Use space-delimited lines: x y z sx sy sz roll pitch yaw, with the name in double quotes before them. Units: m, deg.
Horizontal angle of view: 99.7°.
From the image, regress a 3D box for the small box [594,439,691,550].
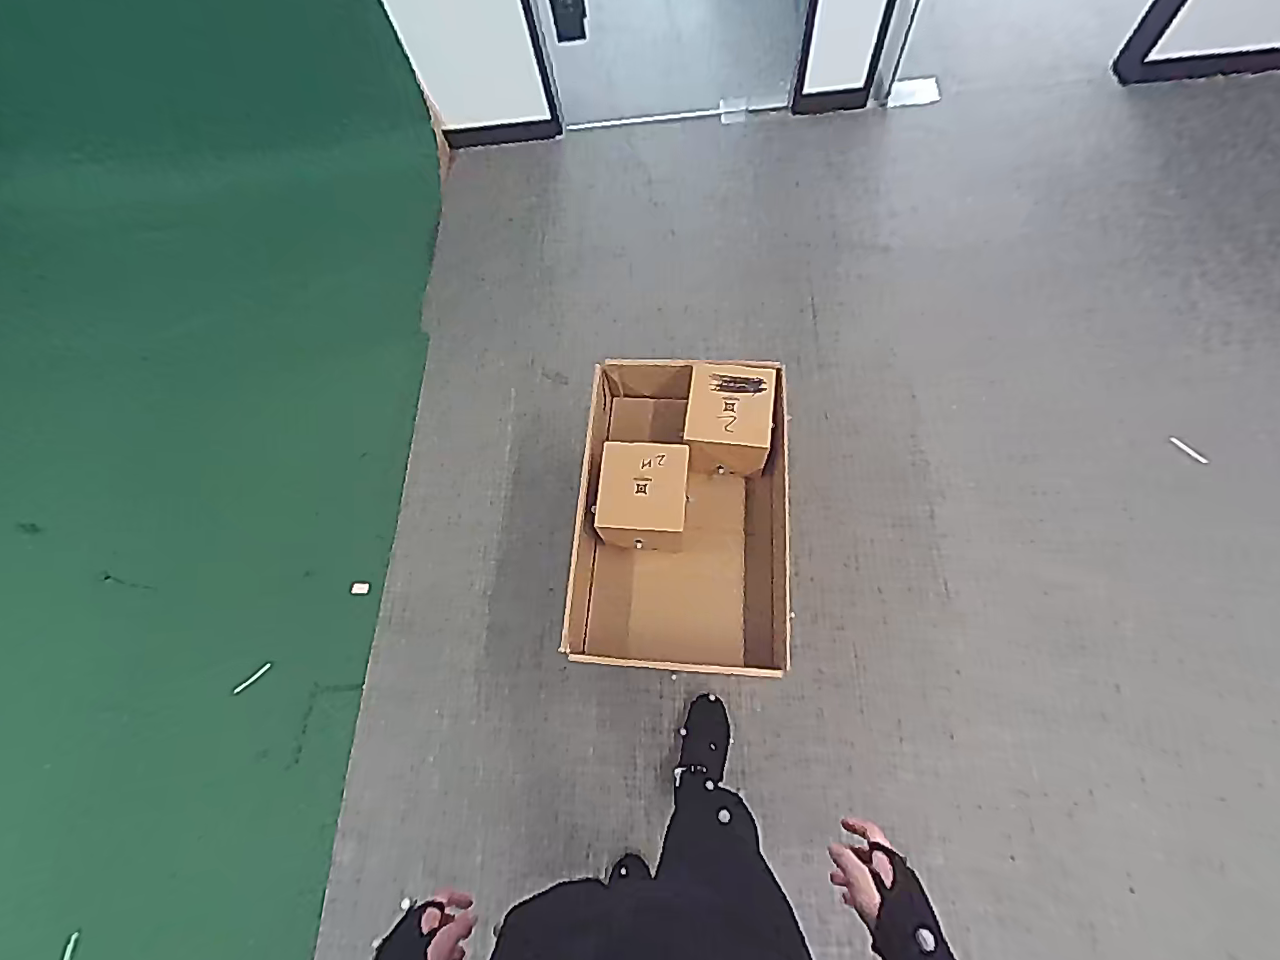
"small box" 0.014 0.035 1.074 0.168 0.176 0.179 4 70 6
